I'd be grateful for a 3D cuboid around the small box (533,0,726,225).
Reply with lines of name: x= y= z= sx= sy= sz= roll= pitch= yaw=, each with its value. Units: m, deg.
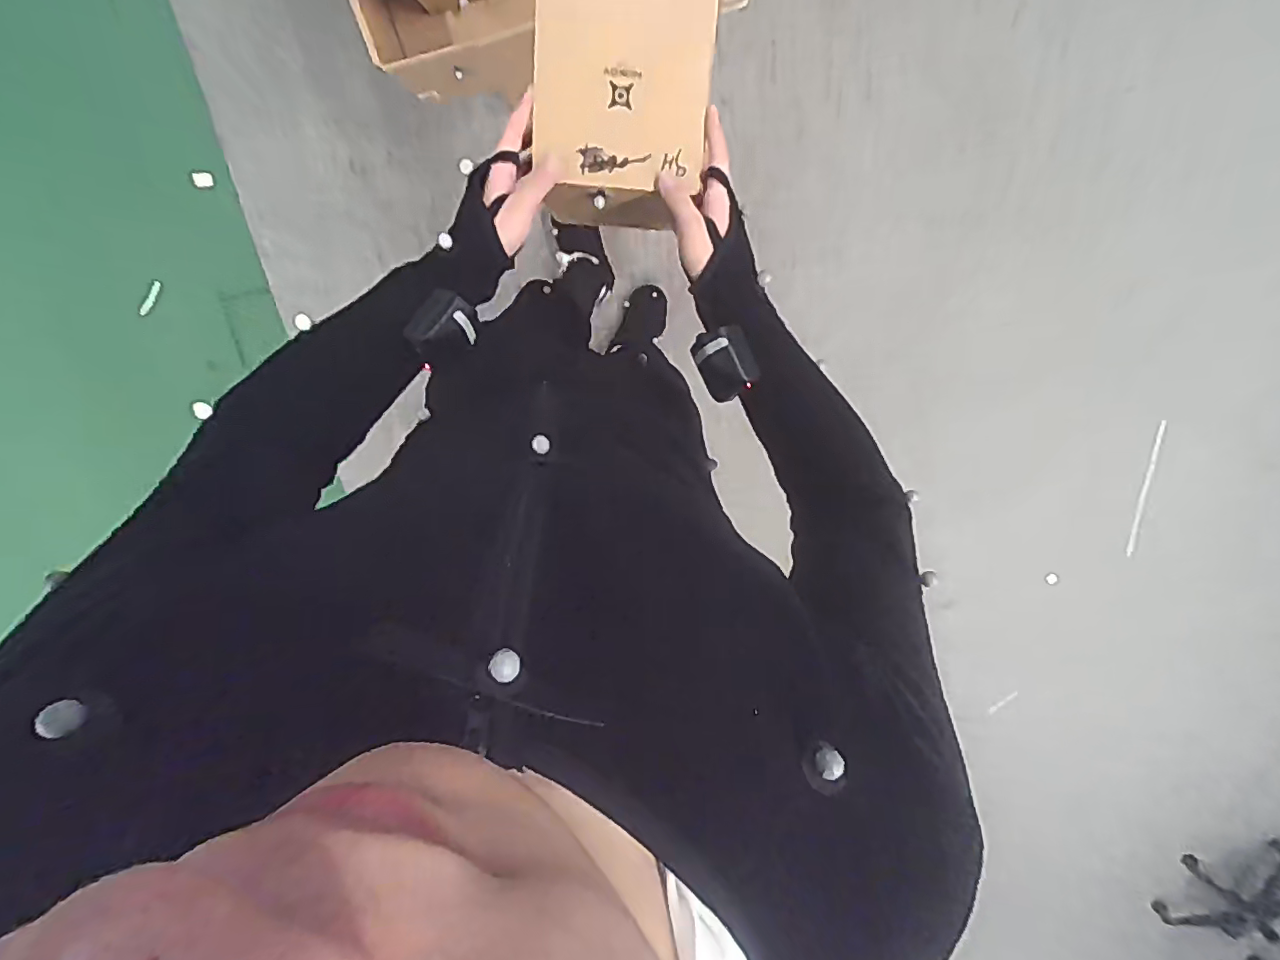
small box: x=-0.014 y=-0.385 z=0.565 sx=0.168 sy=0.176 sz=0.179 roll=4 pitch=104 yaw=-2
